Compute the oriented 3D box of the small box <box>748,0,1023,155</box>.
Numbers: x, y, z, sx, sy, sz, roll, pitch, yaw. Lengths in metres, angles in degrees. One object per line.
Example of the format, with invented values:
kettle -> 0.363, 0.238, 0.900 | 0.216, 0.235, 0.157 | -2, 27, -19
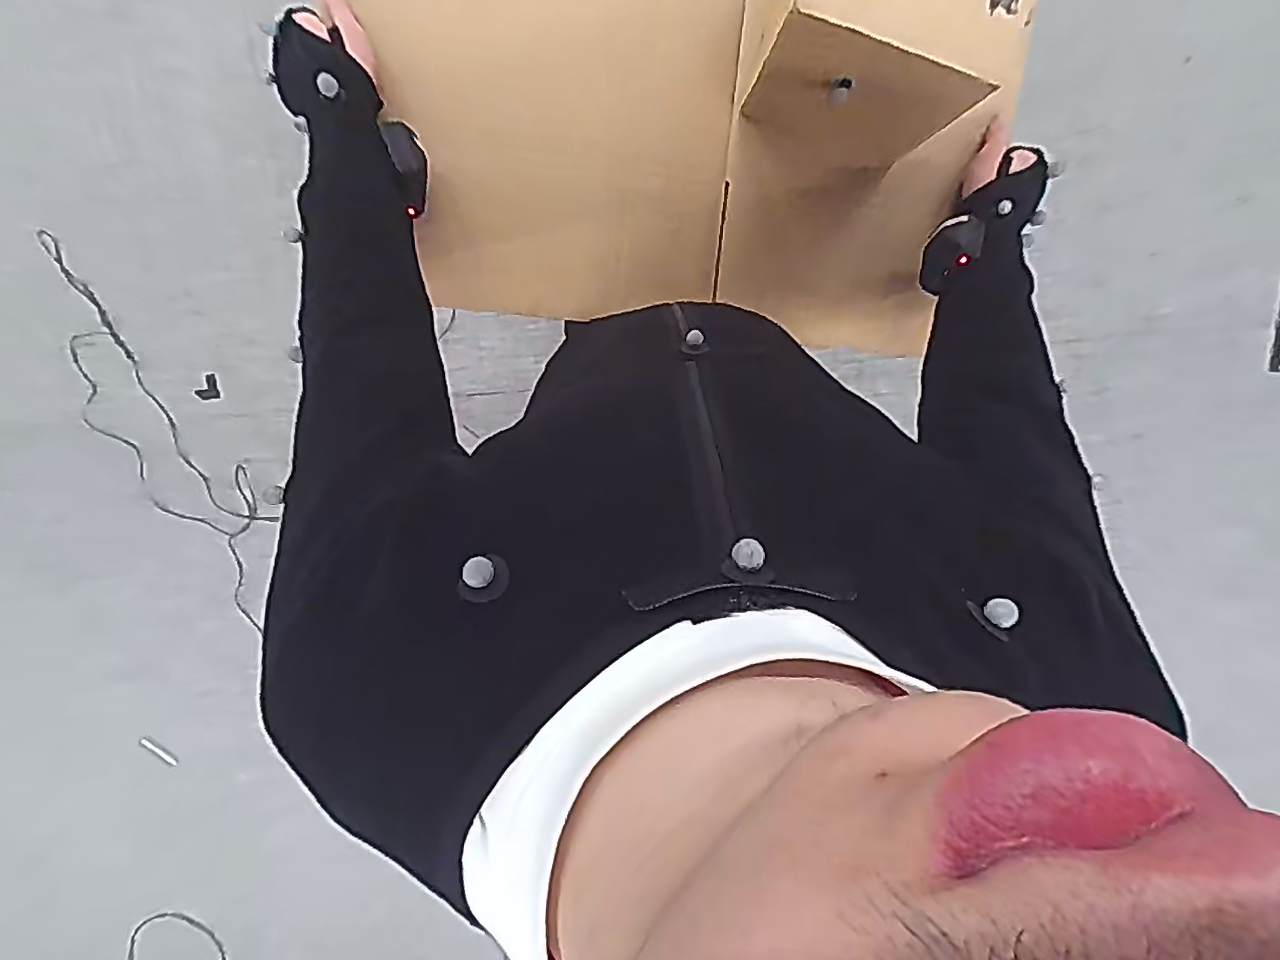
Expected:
small box -> 0.212, -0.422, 0.479 | 0.179, 0.176, 0.168 | 15, 101, -5
